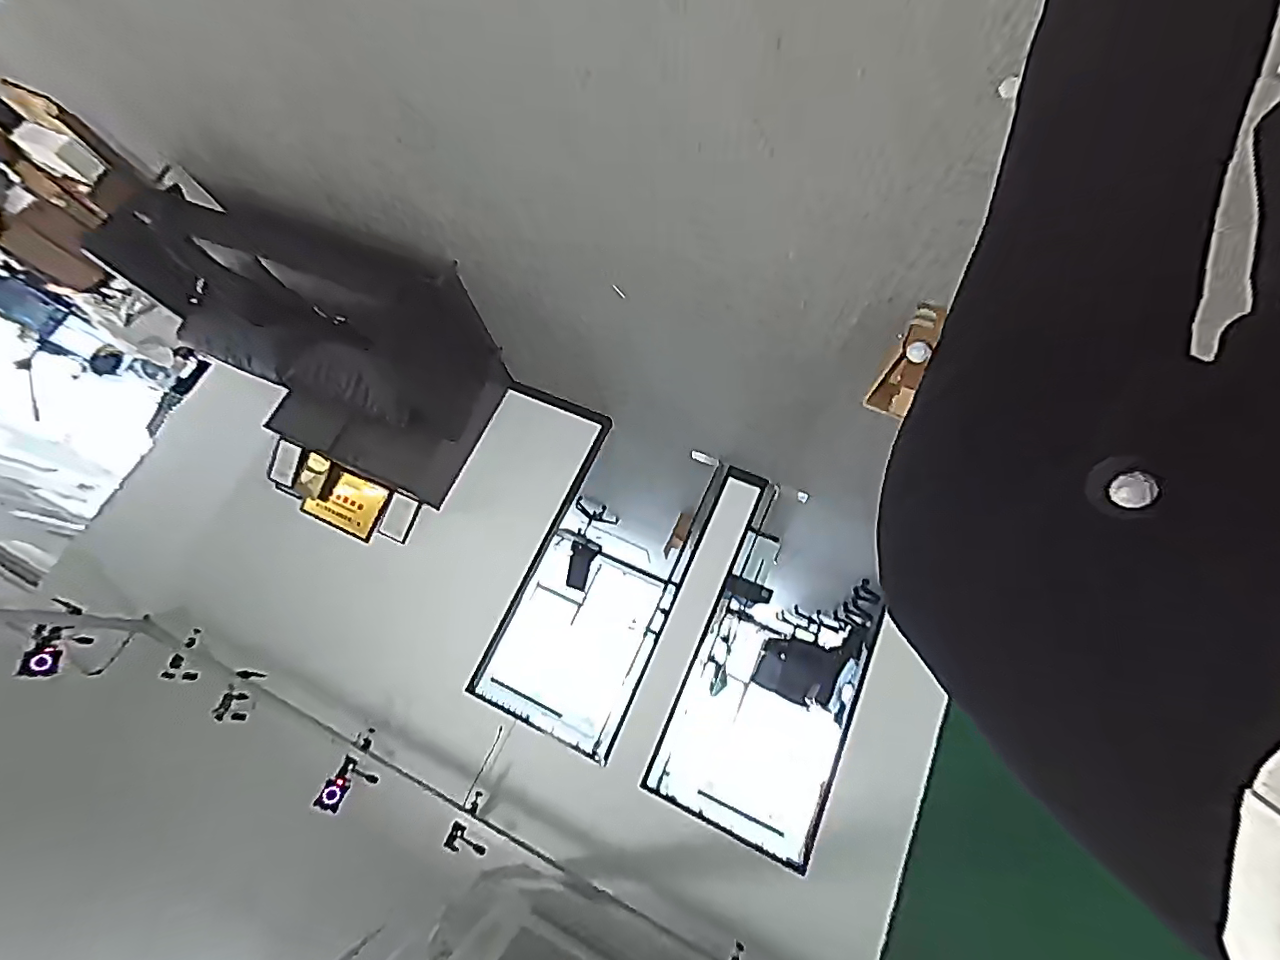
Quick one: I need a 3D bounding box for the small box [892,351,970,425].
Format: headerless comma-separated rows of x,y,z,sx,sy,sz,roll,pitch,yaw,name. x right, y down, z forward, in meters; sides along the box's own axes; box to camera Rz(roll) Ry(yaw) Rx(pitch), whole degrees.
1.015,-0.325,1.891,0.179,0.176,0.168,21,163,15,small box
